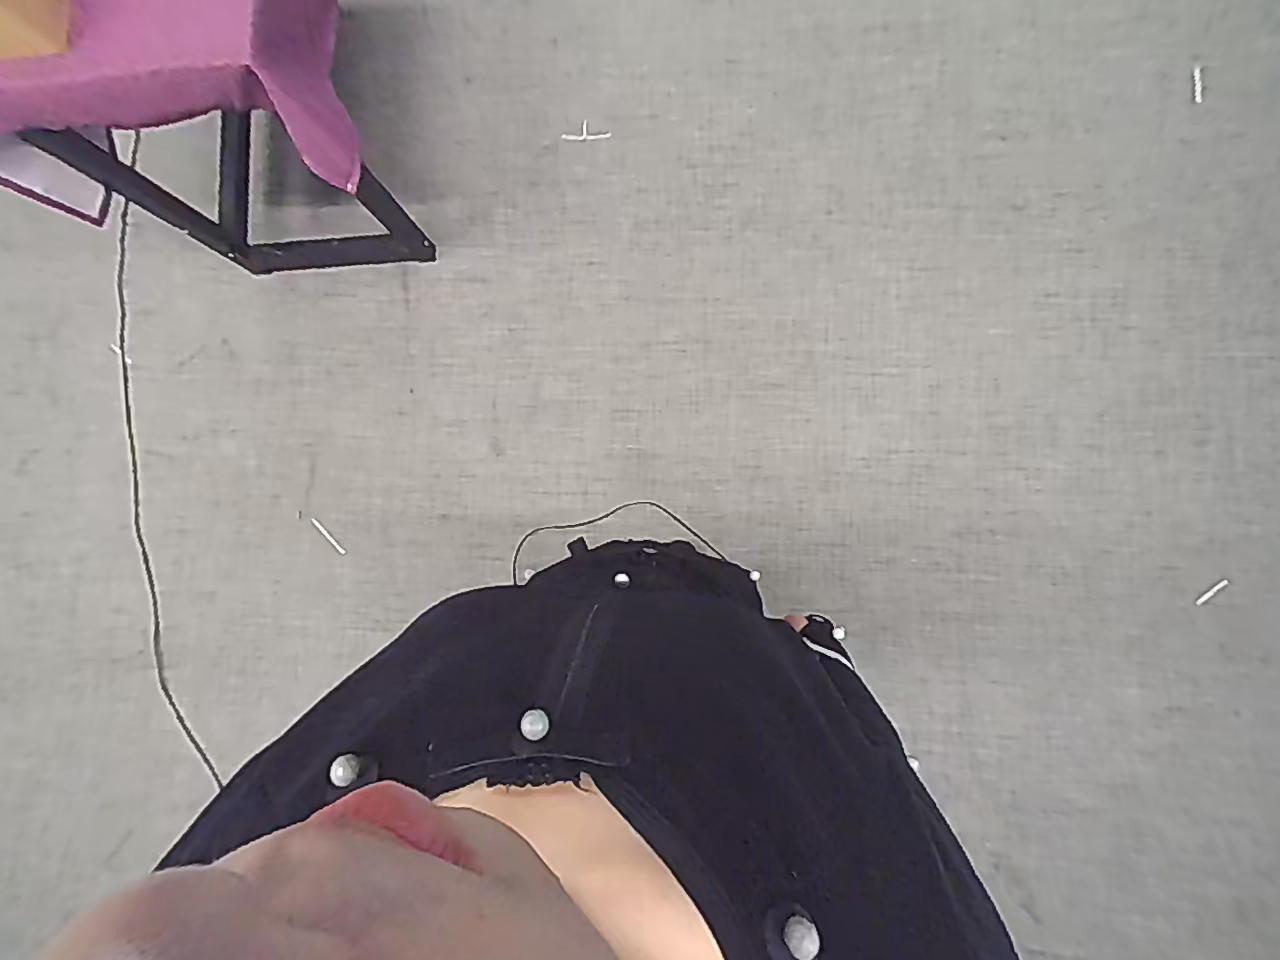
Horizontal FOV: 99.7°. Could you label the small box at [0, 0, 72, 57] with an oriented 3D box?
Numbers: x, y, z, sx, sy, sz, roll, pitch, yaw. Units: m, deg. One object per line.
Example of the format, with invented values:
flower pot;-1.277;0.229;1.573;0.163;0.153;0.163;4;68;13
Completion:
small box;-1.065;-0.808;0.850;0.179;0.176;0.168;-2;85;3
